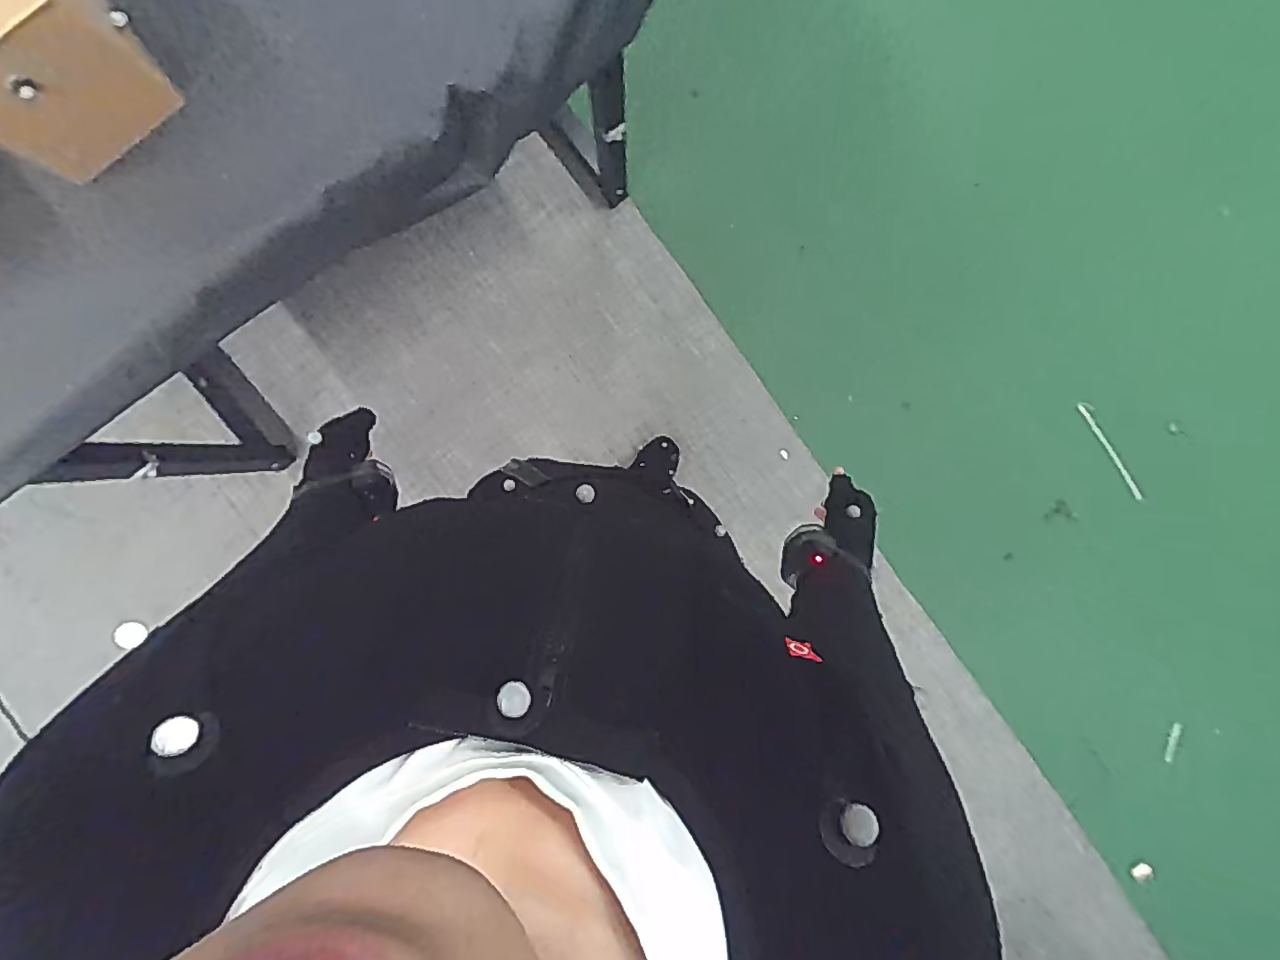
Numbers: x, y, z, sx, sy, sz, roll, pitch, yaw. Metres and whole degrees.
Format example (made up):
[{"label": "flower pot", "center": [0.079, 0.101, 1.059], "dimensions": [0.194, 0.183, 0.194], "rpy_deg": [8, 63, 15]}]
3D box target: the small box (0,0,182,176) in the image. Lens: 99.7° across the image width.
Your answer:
[{"label": "small box", "center": [-0.702, -0.499, 0.623], "dimensions": [0.179, 0.176, 0.168], "rpy_deg": [-38, 93, 1]}]
